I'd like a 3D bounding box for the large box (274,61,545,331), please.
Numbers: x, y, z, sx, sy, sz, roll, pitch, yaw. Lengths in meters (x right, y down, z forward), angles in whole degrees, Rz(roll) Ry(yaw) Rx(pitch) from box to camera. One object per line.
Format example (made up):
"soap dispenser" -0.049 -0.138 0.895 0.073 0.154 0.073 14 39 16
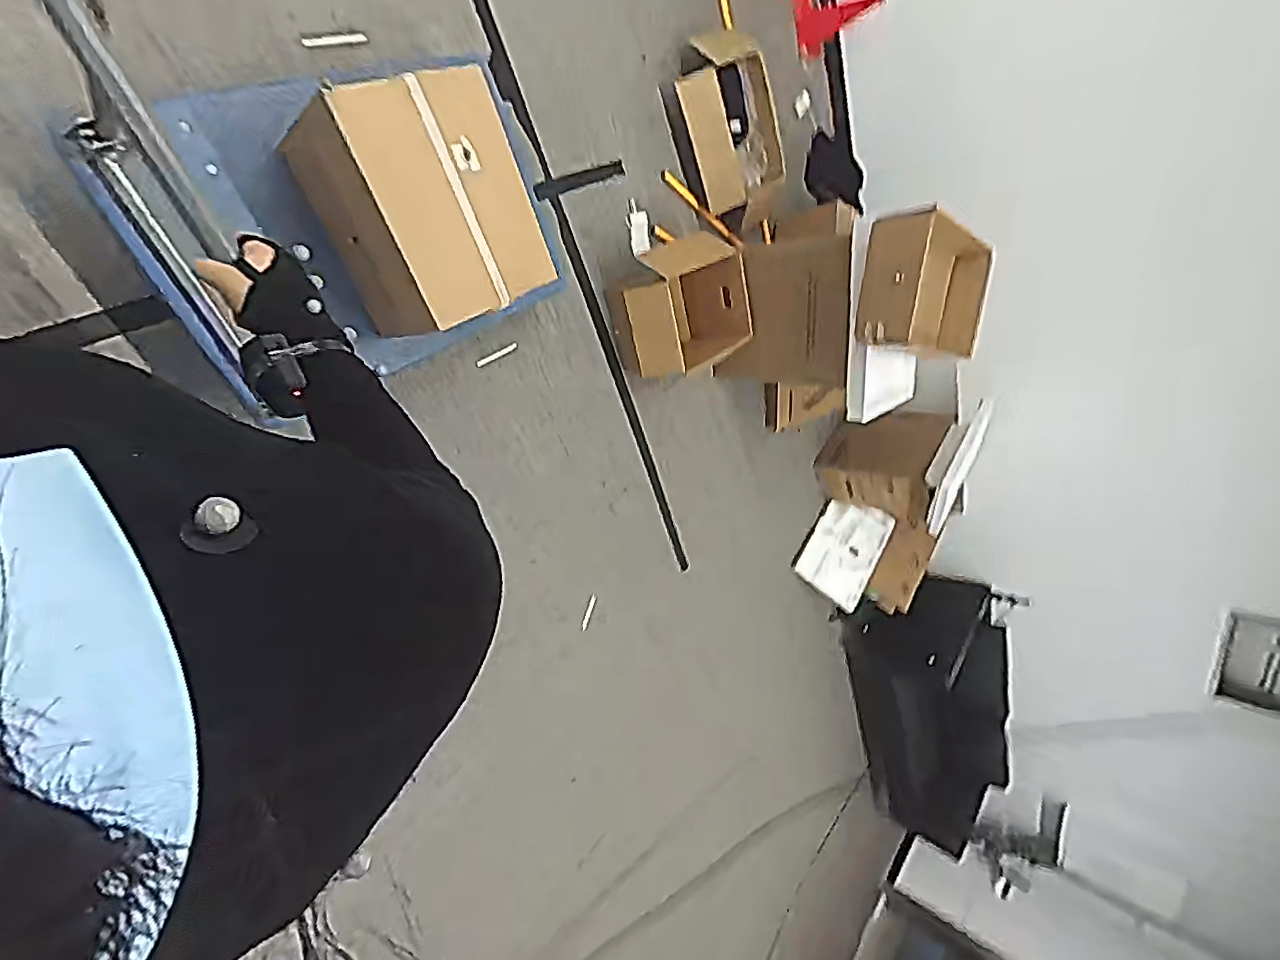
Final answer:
"large box" -0.473 -0.570 1.141 0.320 0.320 0.408 -40 123 -34
